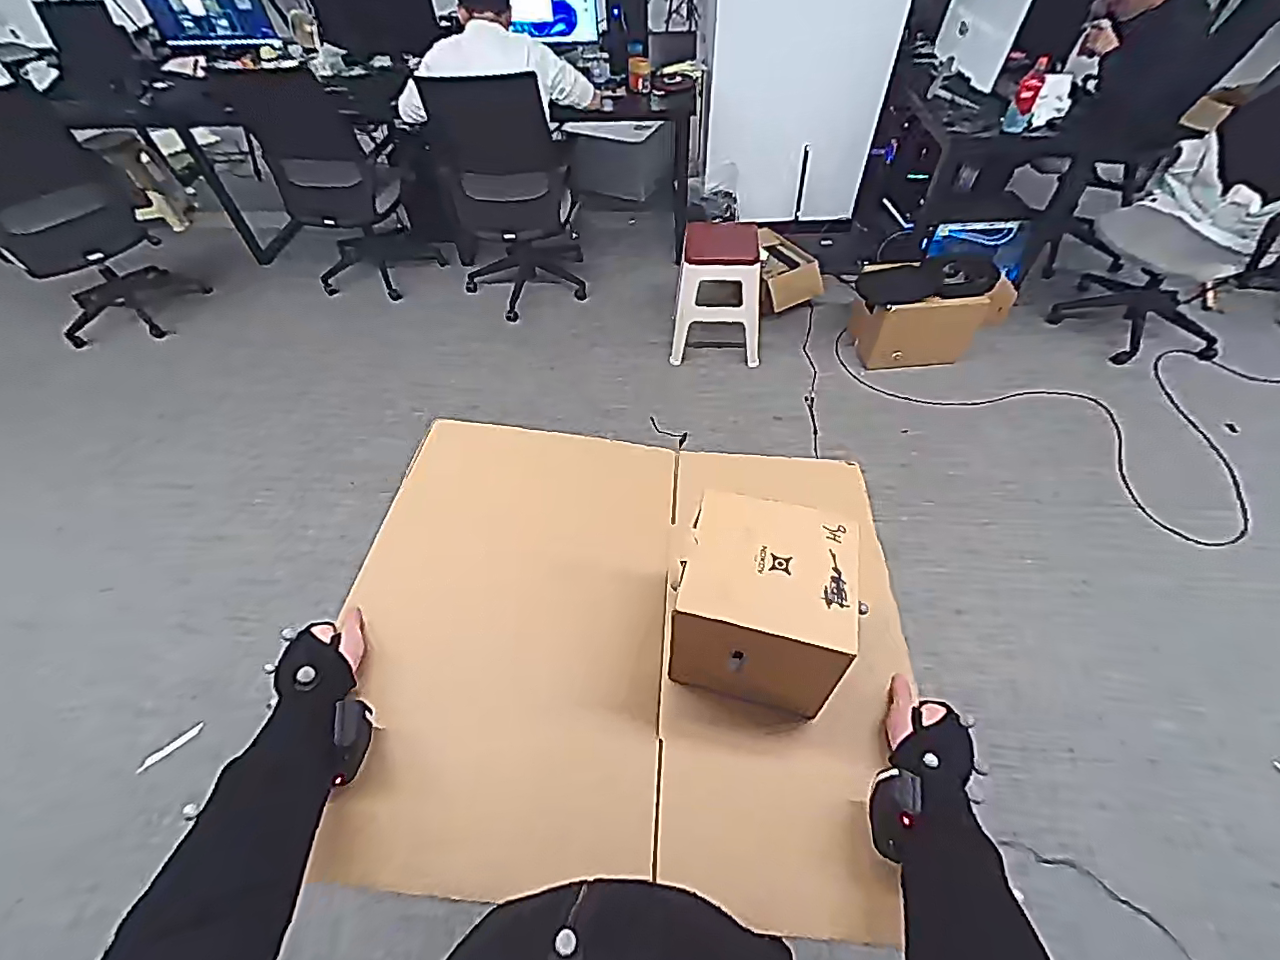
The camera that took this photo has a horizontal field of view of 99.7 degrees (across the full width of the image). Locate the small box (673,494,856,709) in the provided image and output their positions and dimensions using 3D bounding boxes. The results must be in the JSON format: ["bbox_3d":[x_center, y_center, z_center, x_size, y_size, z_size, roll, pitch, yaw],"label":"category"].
[{"bbox_3d":[0.140,0.143,0.629,0.179,0.176,0.168,10,49,12],"label":"small box"}]
